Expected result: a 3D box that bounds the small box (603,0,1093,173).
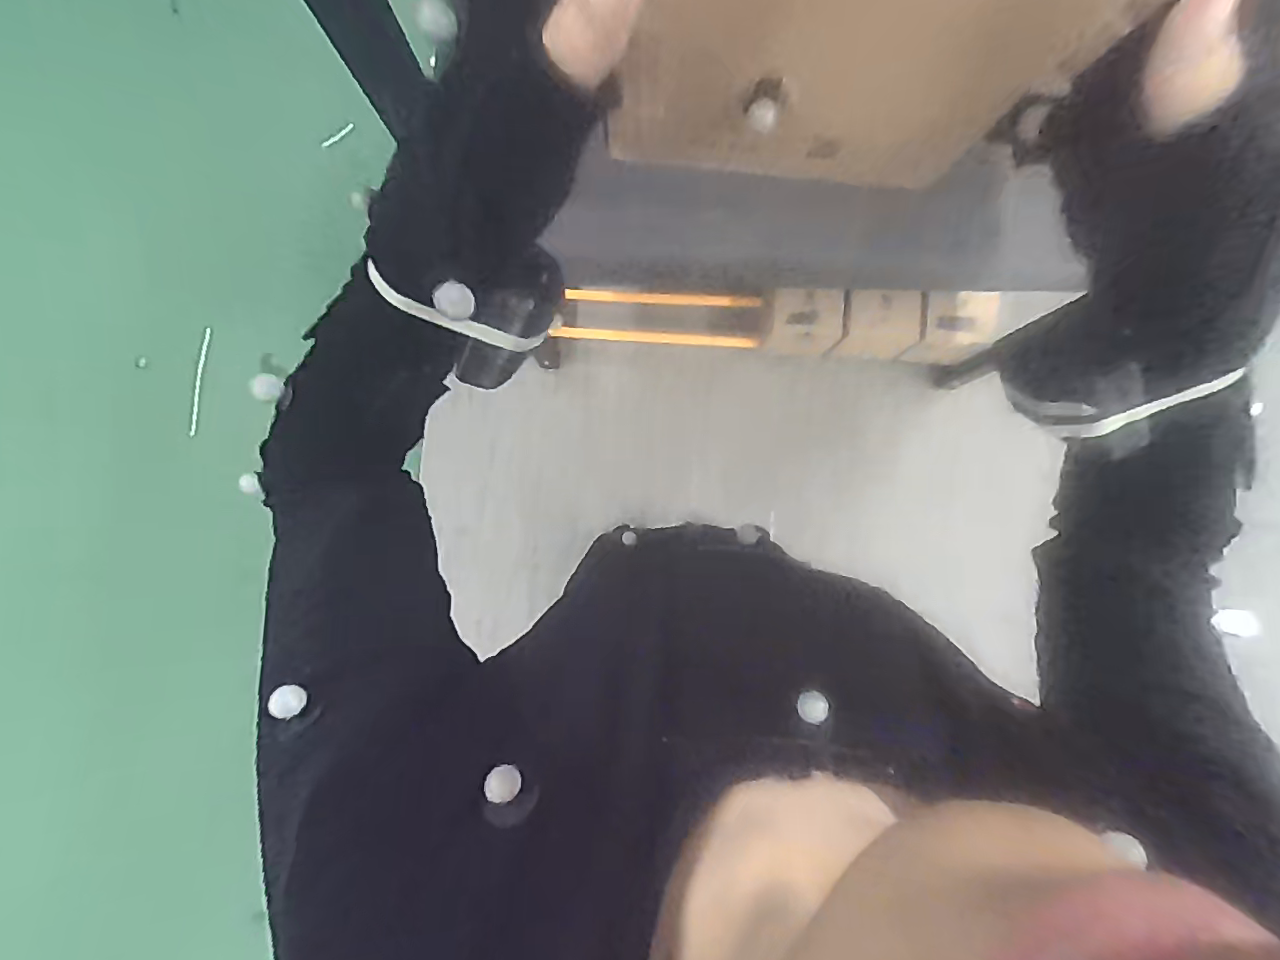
[{"bbox_3d":[0.073,-0.246,0.190,0.168,0.176,0.179,5,92,1],"label":"small box"}]
